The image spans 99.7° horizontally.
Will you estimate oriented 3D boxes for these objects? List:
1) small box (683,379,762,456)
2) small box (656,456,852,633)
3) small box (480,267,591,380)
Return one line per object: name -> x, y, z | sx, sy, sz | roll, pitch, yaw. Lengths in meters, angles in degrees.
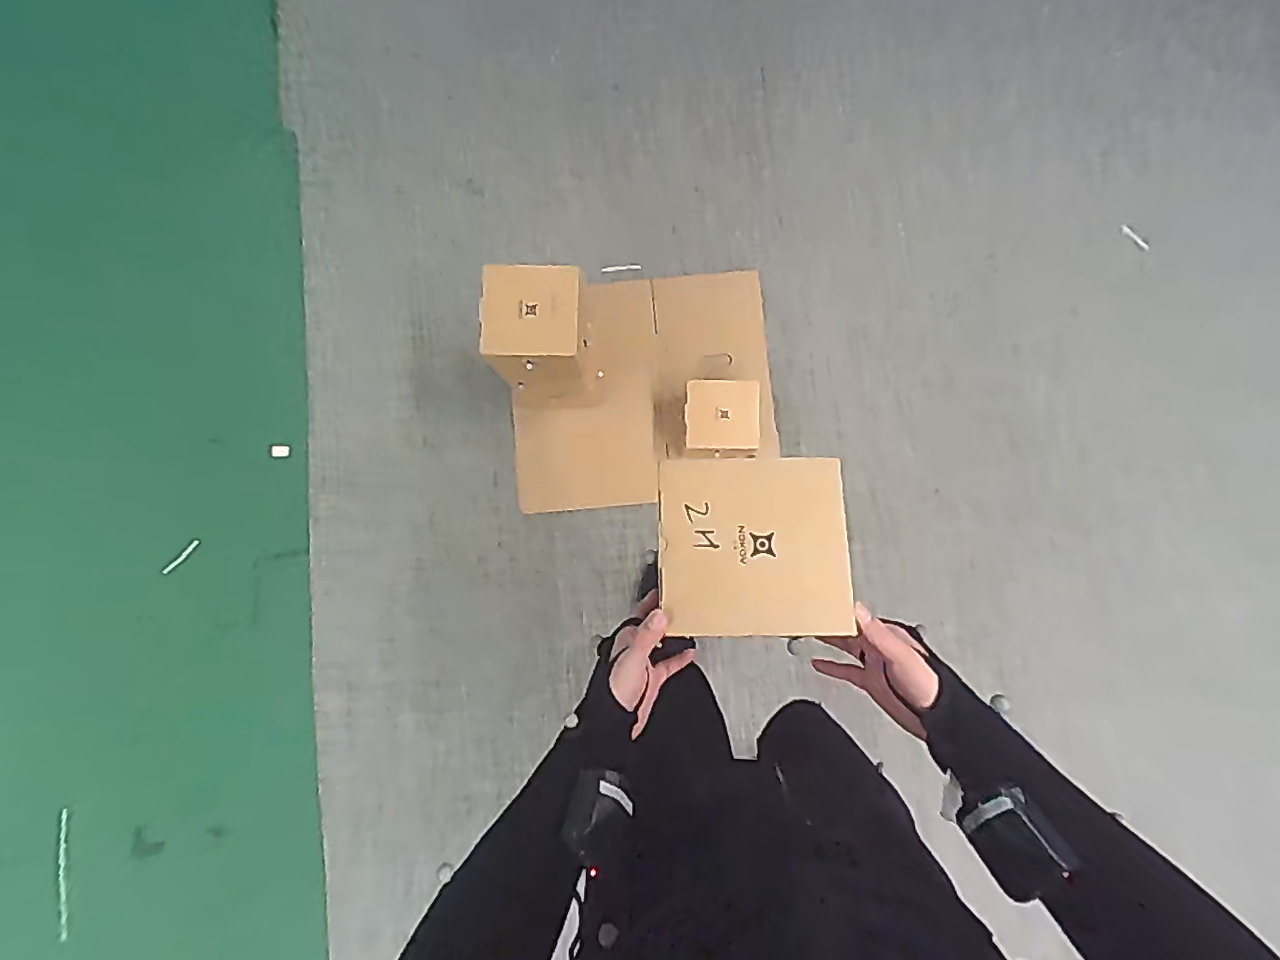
small box -> 0.202, -0.152, 1.353 | 0.179, 0.176, 0.168 | 0, 85, 2
small box -> 0.107, 0.076, 0.579 | 0.179, 0.176, 0.168 | -1, 75, 3
small box -> -0.193, -0.293, 1.042 | 0.179, 0.176, 0.168 | 1, 86, 1
